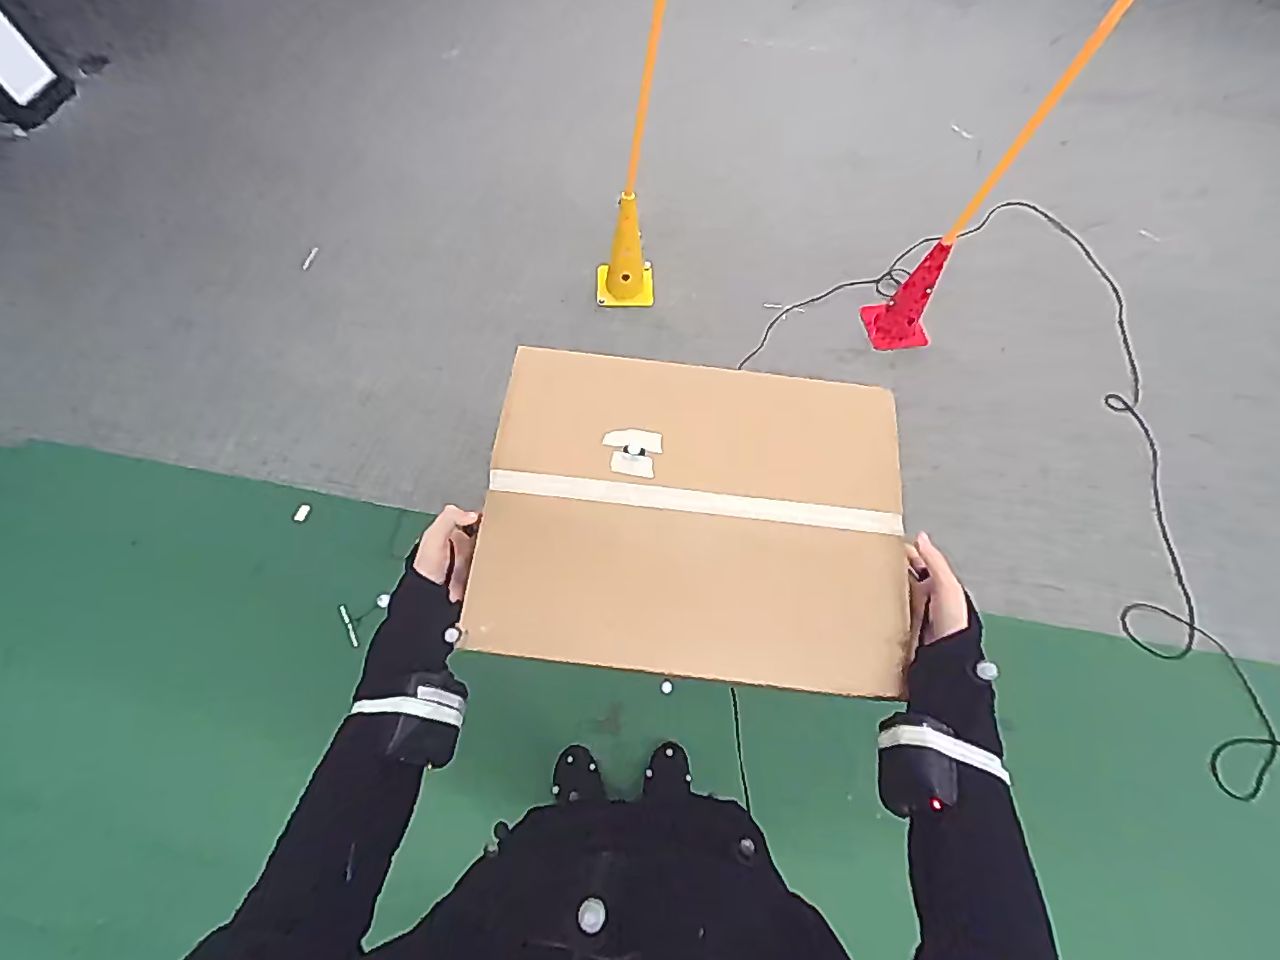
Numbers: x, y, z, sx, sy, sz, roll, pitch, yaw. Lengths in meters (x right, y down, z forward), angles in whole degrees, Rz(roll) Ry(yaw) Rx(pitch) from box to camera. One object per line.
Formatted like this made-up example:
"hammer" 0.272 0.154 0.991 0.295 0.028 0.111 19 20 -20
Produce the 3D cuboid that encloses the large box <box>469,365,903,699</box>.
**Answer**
"large box" 0.054 0.084 0.678 0.408 0.320 0.320 6 69 1
